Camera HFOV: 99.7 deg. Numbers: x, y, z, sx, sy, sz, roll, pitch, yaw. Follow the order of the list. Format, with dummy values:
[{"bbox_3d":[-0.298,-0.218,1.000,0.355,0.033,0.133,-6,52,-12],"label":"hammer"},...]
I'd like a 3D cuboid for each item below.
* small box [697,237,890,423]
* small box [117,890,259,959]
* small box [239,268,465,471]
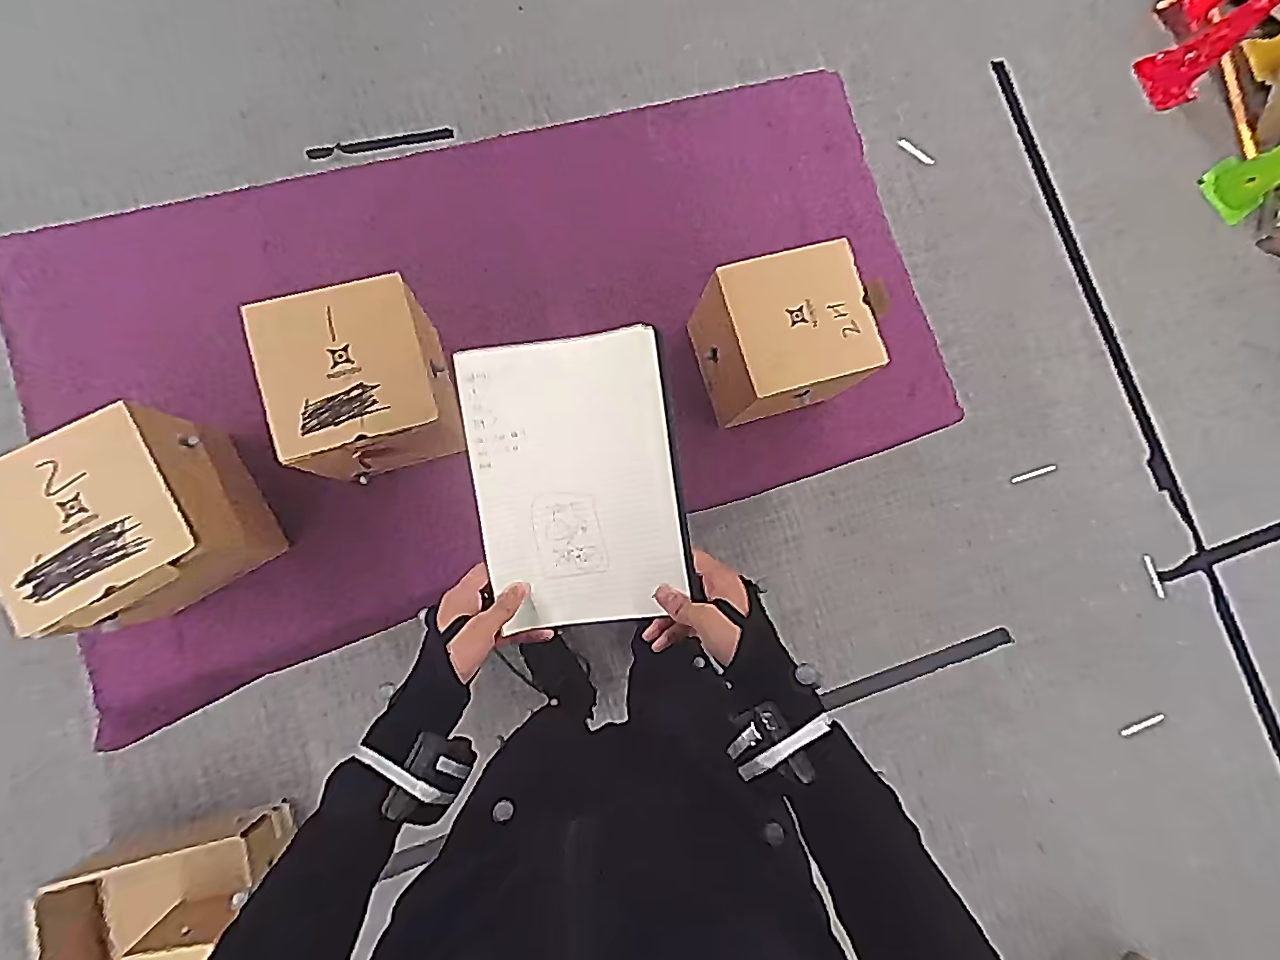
[{"bbox_3d":[0.183,-0.184,0.710,0.179,0.176,0.168,-15,86,-9],"label":"small box"},{"bbox_3d":[-0.928,0.995,1.124,0.179,0.176,0.168,-3,84,-8],"label":"small box"},{"bbox_3d":[-0.321,-0.115,0.640,0.168,0.176,0.179,-16,85,-9],"label":"small box"}]
